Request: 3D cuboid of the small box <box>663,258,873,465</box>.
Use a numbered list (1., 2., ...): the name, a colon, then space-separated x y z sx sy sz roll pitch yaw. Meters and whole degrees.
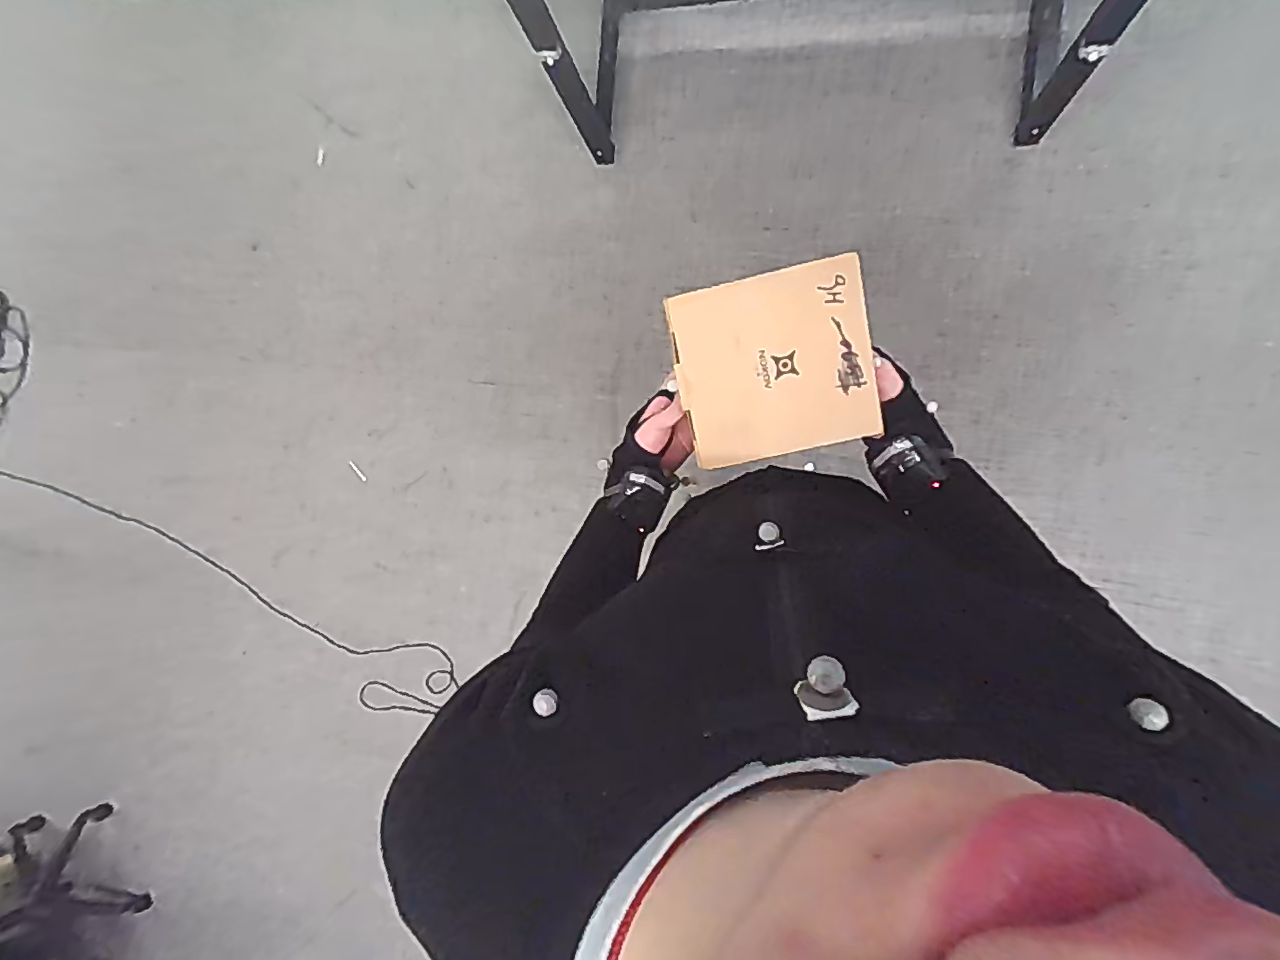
1. small box: 0.127 -0.121 0.583 0.179 0.176 0.168 -11 101 6
